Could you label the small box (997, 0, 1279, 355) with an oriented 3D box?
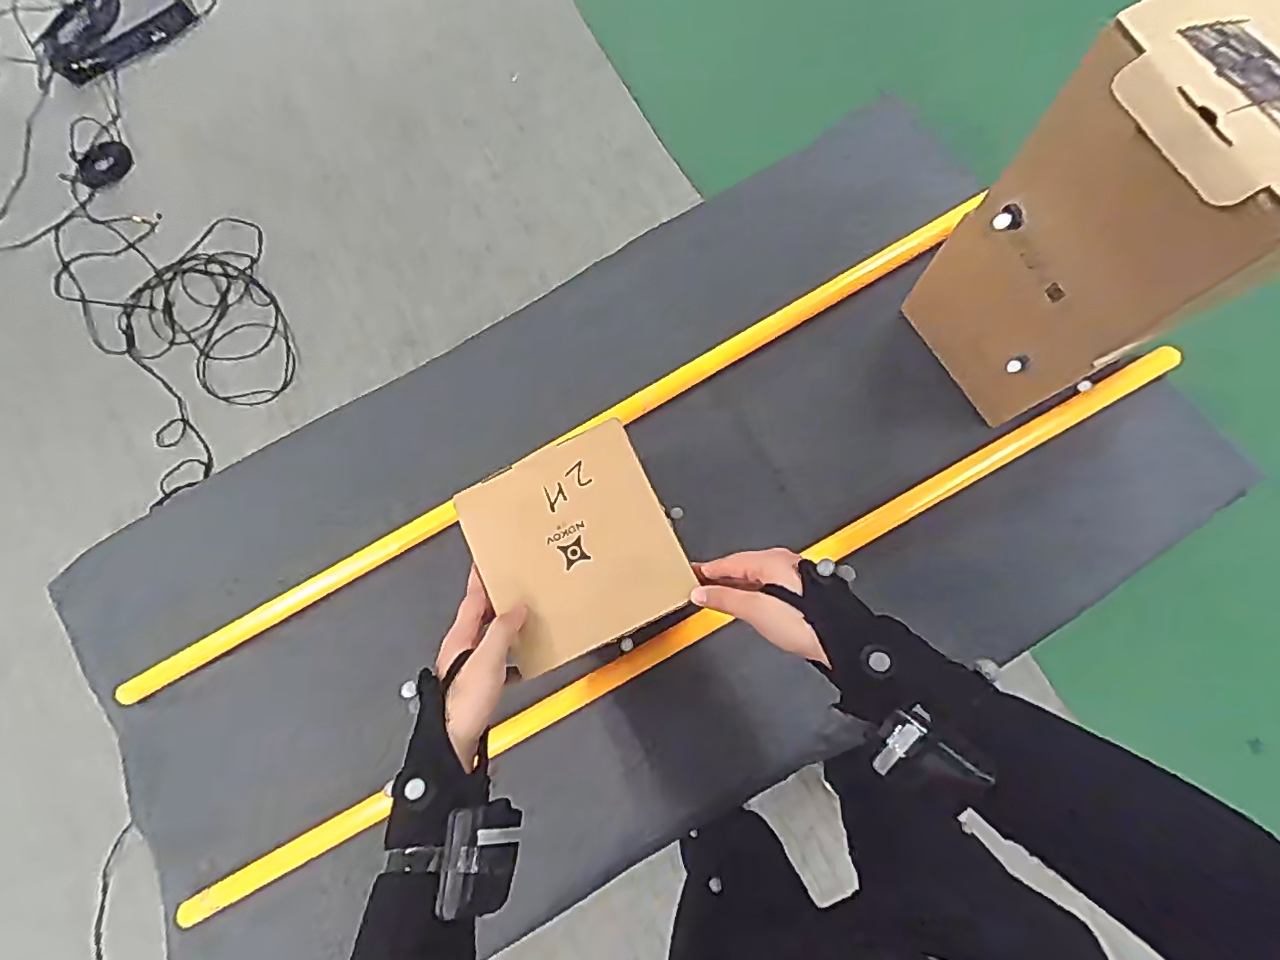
[{"bbox_3d":[0.393,-0.215,0.375,0.179,0.176,0.168,-25,77,0],"label":"small box"}]
